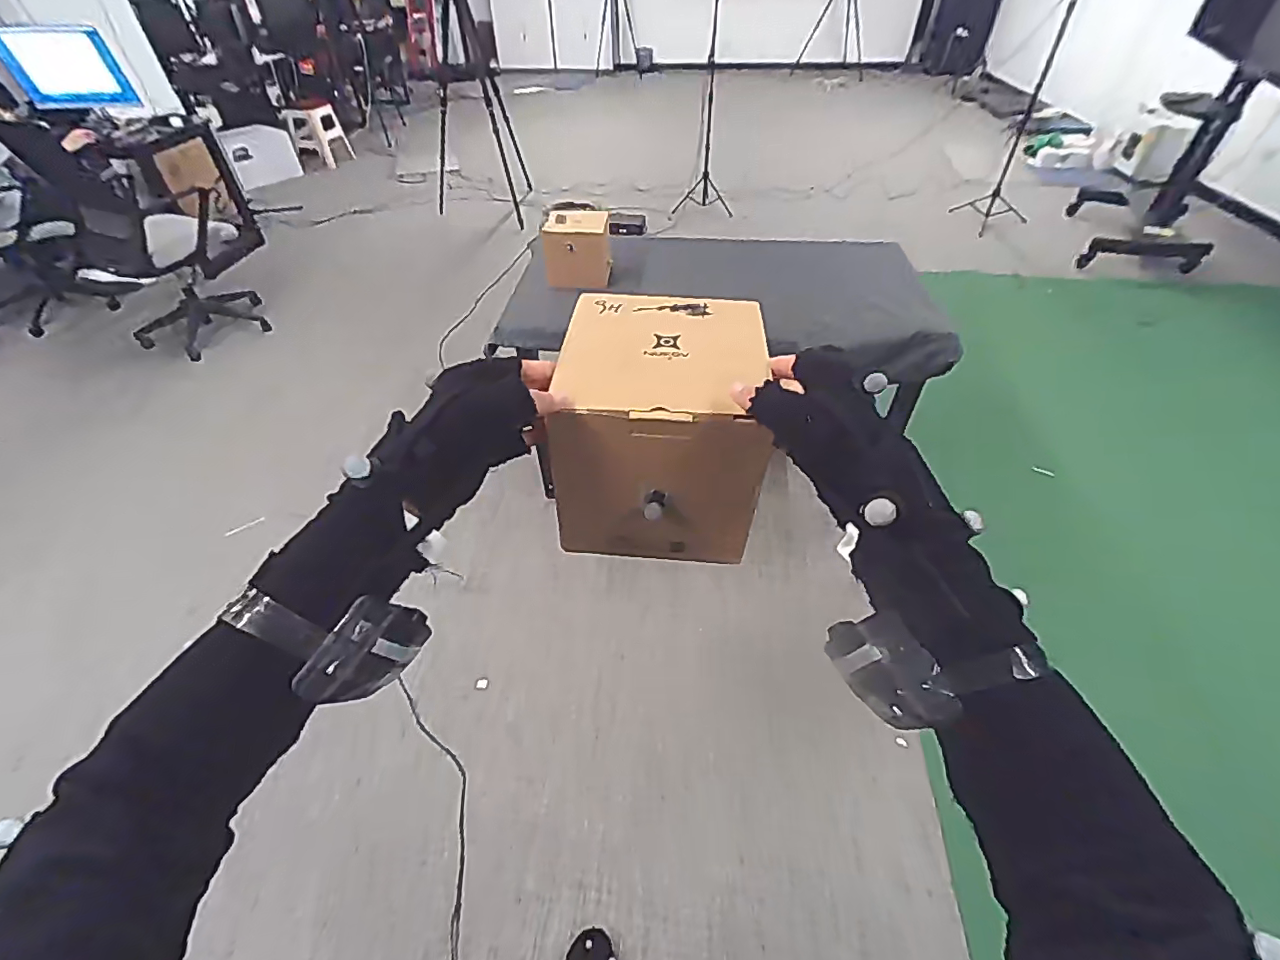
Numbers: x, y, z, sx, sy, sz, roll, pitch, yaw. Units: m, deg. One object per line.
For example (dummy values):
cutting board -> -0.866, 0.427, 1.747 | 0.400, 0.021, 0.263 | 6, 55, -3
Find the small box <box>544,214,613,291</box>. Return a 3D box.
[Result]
small box -> -0.177, -0.680, 1.619 | 0.179, 0.176, 0.168 | 3, 45, 2

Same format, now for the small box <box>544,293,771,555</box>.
small box -> 0.018, -0.049, 0.494 | 0.168, 0.176, 0.179 | 4, 46, 2
